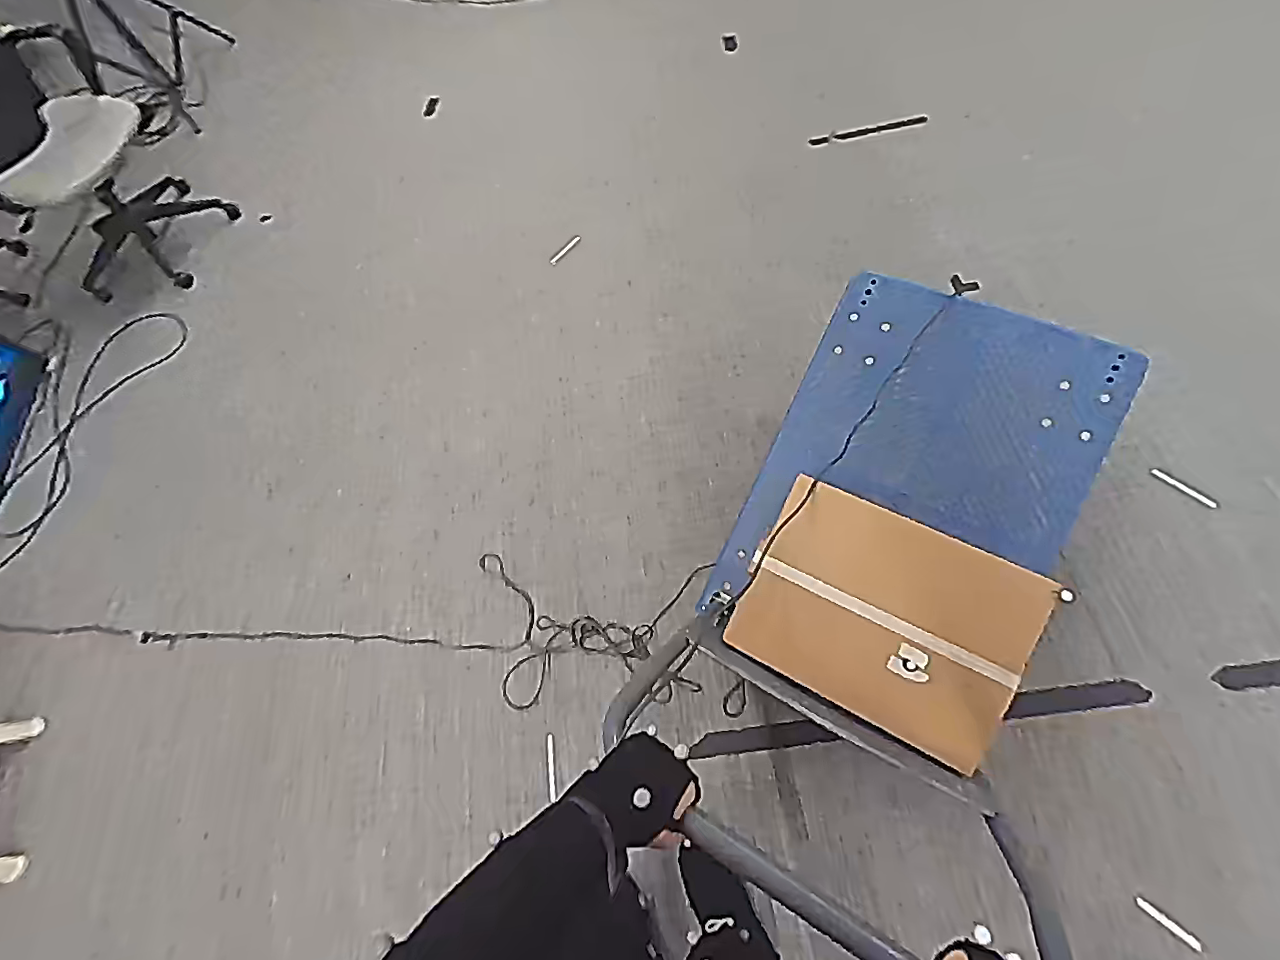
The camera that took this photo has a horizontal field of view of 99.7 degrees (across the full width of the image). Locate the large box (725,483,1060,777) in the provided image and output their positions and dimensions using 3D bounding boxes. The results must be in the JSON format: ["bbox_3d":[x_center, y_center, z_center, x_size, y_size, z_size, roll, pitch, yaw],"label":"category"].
[{"bbox_3d":[0.410,0.232,0.975,0.408,0.320,0.320,25,92,18],"label":"large box"}]
